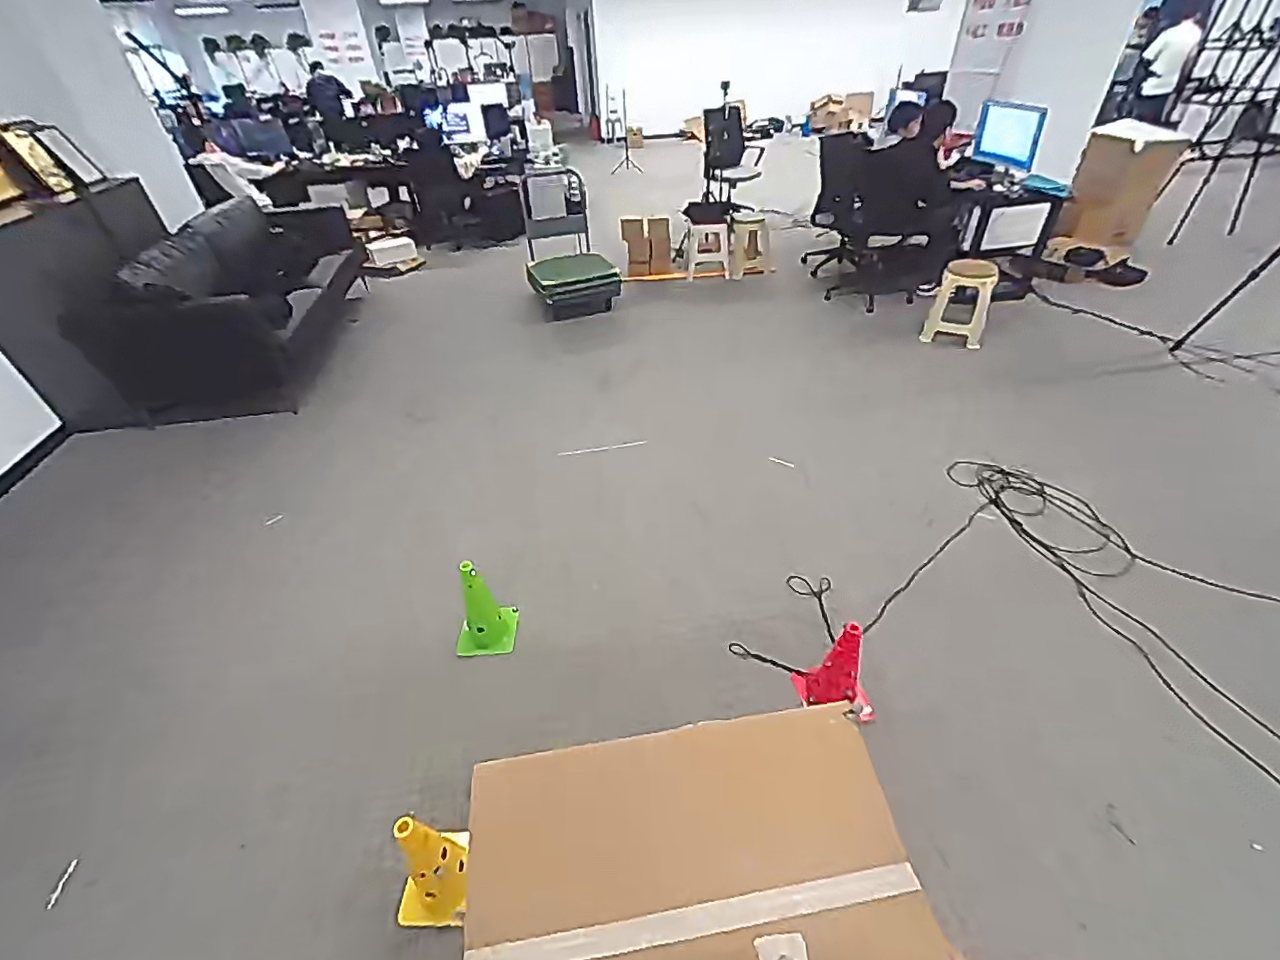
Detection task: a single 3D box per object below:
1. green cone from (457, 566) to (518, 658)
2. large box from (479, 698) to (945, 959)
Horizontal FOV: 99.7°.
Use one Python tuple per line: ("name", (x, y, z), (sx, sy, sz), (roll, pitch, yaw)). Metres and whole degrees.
("green cone", (-0.561, 0.423, 1.856), (0.200, 0.368, 0.202), (-5, 41, -1))
("large box", (0.057, 0.482, 0.601), (0.408, 0.320, 0.320), (-8, 52, -5))
